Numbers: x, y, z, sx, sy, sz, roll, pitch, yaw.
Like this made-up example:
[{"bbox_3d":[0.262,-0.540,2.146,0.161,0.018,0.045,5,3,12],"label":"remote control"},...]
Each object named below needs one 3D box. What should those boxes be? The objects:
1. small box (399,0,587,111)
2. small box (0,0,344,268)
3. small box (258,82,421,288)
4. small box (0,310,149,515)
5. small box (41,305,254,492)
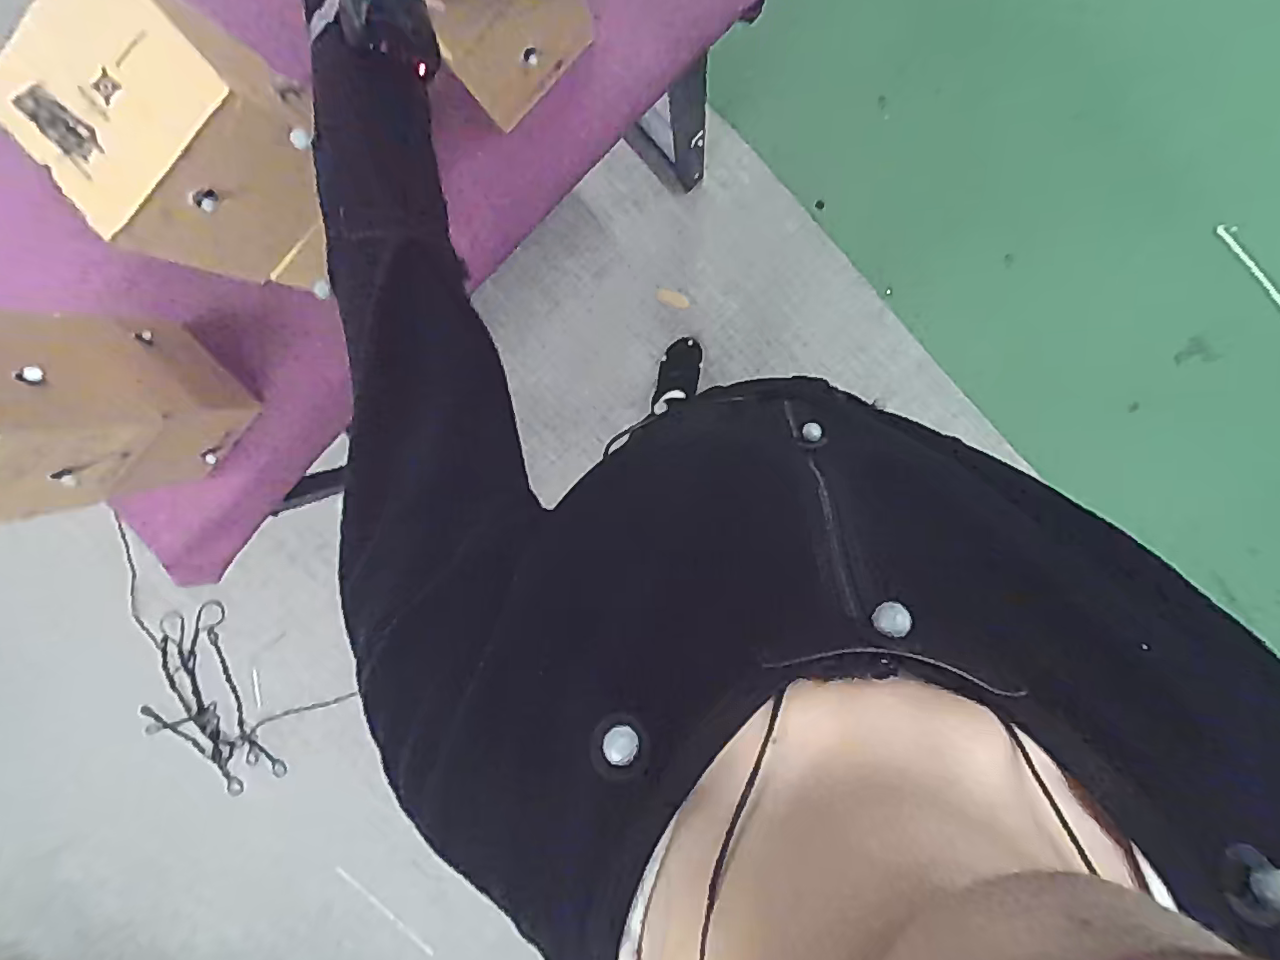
[{"bbox_3d":[-0.182,-0.567,0.615,0.168,0.176,0.179,-40,93,11],"label":"small box"},{"bbox_3d":[-0.433,-0.334,0.515,0.179,0.176,0.168,-40,93,10],"label":"small box"},{"bbox_3d":[-0.415,-0.364,0.676,0.168,0.176,0.179,-44,92,11],"label":"small box"},{"bbox_3d":[-0.710,-0.074,0.589,0.168,0.176,0.179,-42,94,11],"label":"small box"},{"bbox_3d":[-0.702,-0.110,0.749,0.168,0.176,0.179,-43,94,11],"label":"small box"}]
